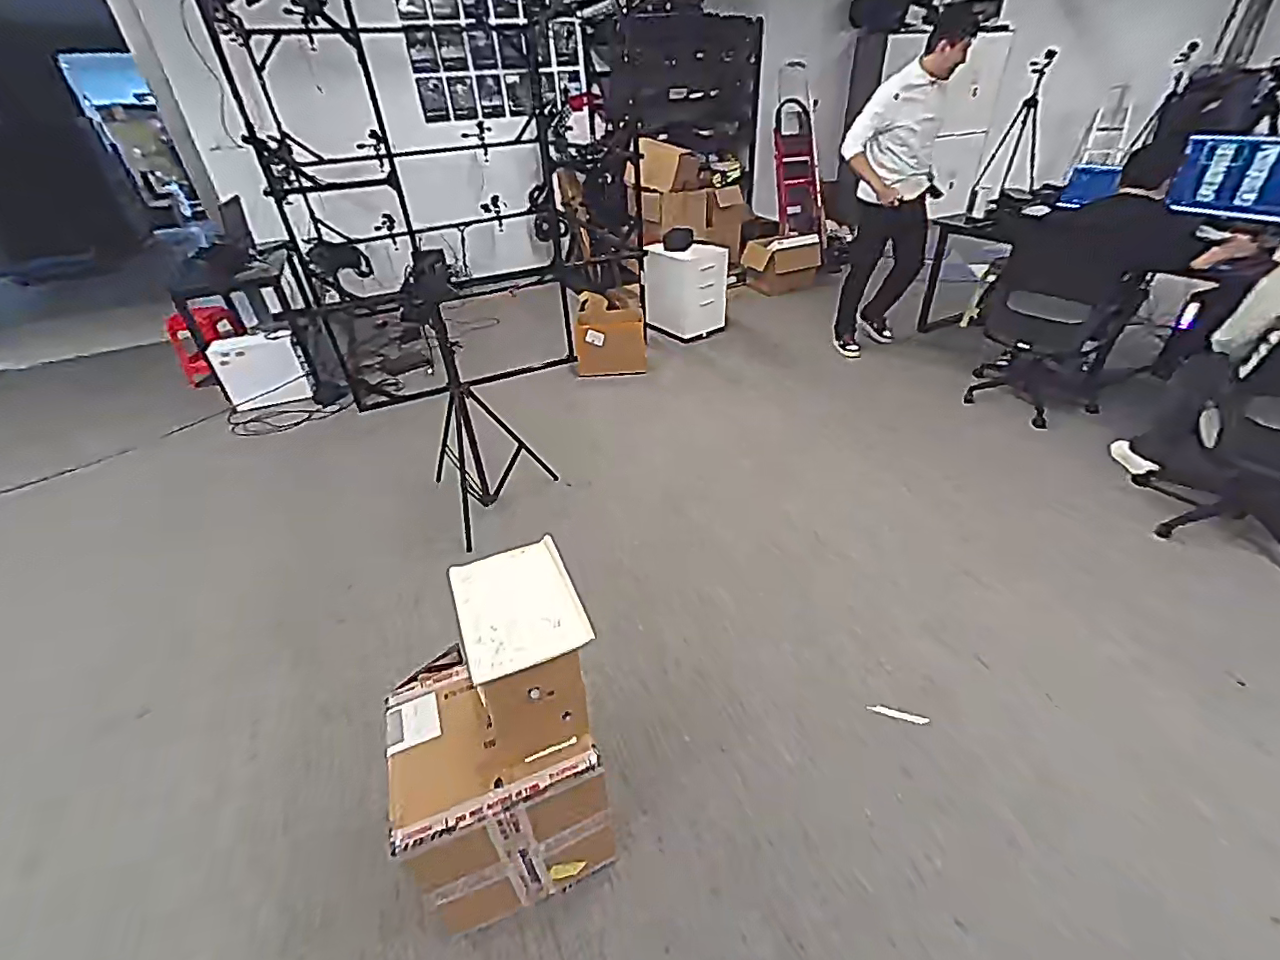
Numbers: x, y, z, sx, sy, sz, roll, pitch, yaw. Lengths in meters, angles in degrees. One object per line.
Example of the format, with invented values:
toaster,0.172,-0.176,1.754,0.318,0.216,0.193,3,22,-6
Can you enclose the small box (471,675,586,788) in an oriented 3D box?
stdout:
small box,-0.213,0.457,1.061,0.179,0.176,0.168,-18,39,-21

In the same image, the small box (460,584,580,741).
small box,-0.213,0.323,0.966,0.168,0.176,0.179,-15,39,-19
